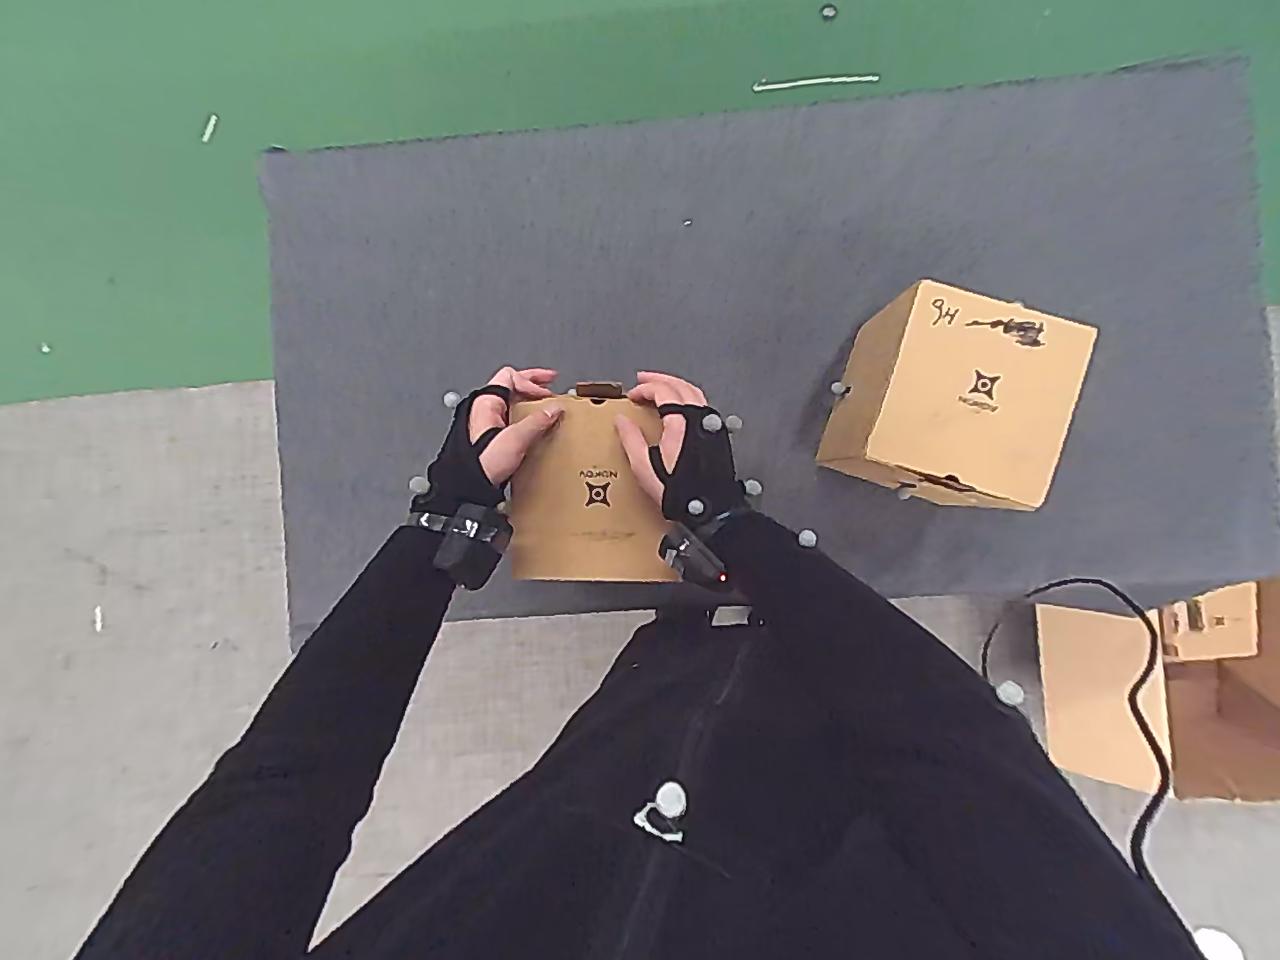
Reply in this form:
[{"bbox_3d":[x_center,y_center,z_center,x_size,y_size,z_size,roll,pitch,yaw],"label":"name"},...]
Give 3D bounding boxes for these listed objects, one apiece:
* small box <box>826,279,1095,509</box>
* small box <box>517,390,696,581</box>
[{"bbox_3d":[0.316,-0.081,0.579,0.168,0.176,0.179,19,92,3],"label":"small box"},{"bbox_3d":[-0.030,0.002,0.576,0.168,0.176,0.179,0,93,2],"label":"small box"}]
